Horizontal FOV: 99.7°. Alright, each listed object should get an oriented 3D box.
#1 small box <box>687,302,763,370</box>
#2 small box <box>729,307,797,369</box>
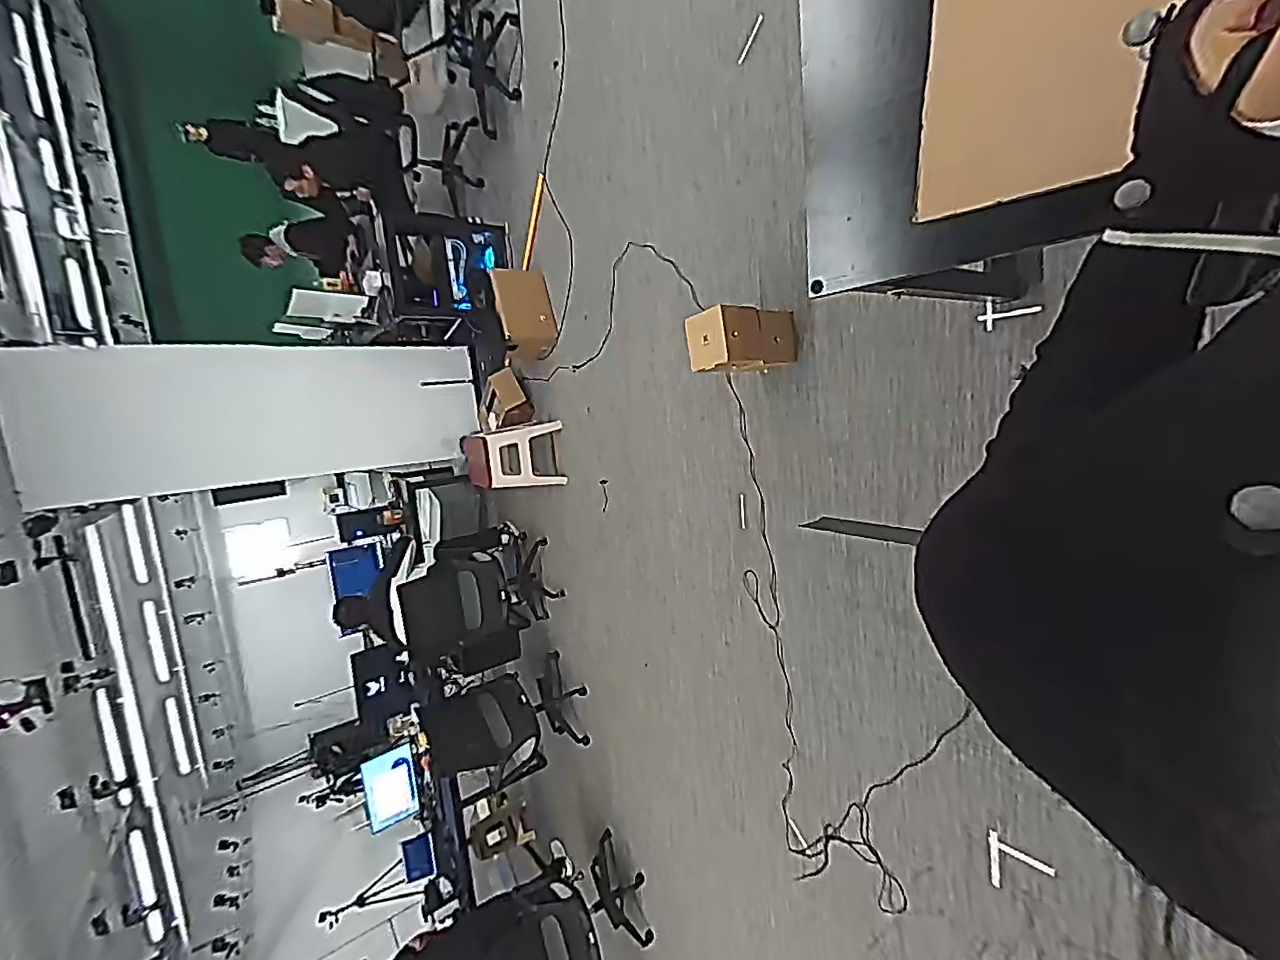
[{"bbox_3d":[0.276,-0.457,1.730,0.168,0.176,0.179,-5,93,54],"label":"small box"},{"bbox_3d":[0.408,-0.475,1.824,0.168,0.176,0.179,1,100,54],"label":"small box"}]
